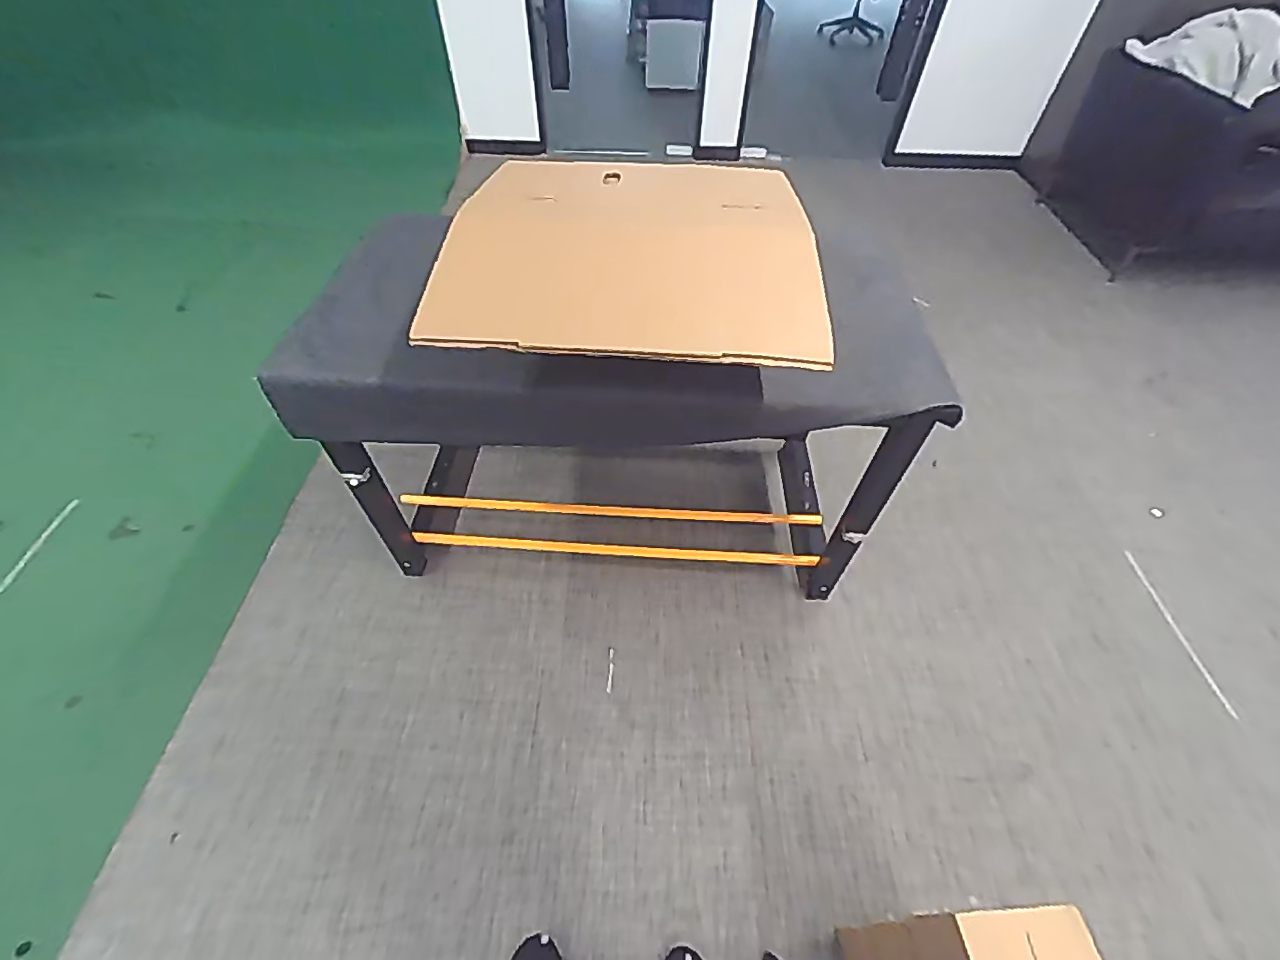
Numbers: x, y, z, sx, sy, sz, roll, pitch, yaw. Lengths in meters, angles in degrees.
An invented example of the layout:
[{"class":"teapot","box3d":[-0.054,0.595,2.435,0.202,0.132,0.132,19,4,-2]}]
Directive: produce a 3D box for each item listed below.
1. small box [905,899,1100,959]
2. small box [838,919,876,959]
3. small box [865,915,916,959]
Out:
[{"class":"small box","box3d":[0.480,0.660,0.699,0.168,0.176,0.179,-1,49,-3]},{"class":"small box","box3d":[0.468,0.879,0.943,0.168,0.176,0.179,-2,50,-3]},{"class":"small box","box3d":[0.477,0.767,0.824,0.179,0.176,0.168,-3,50,-3]}]
